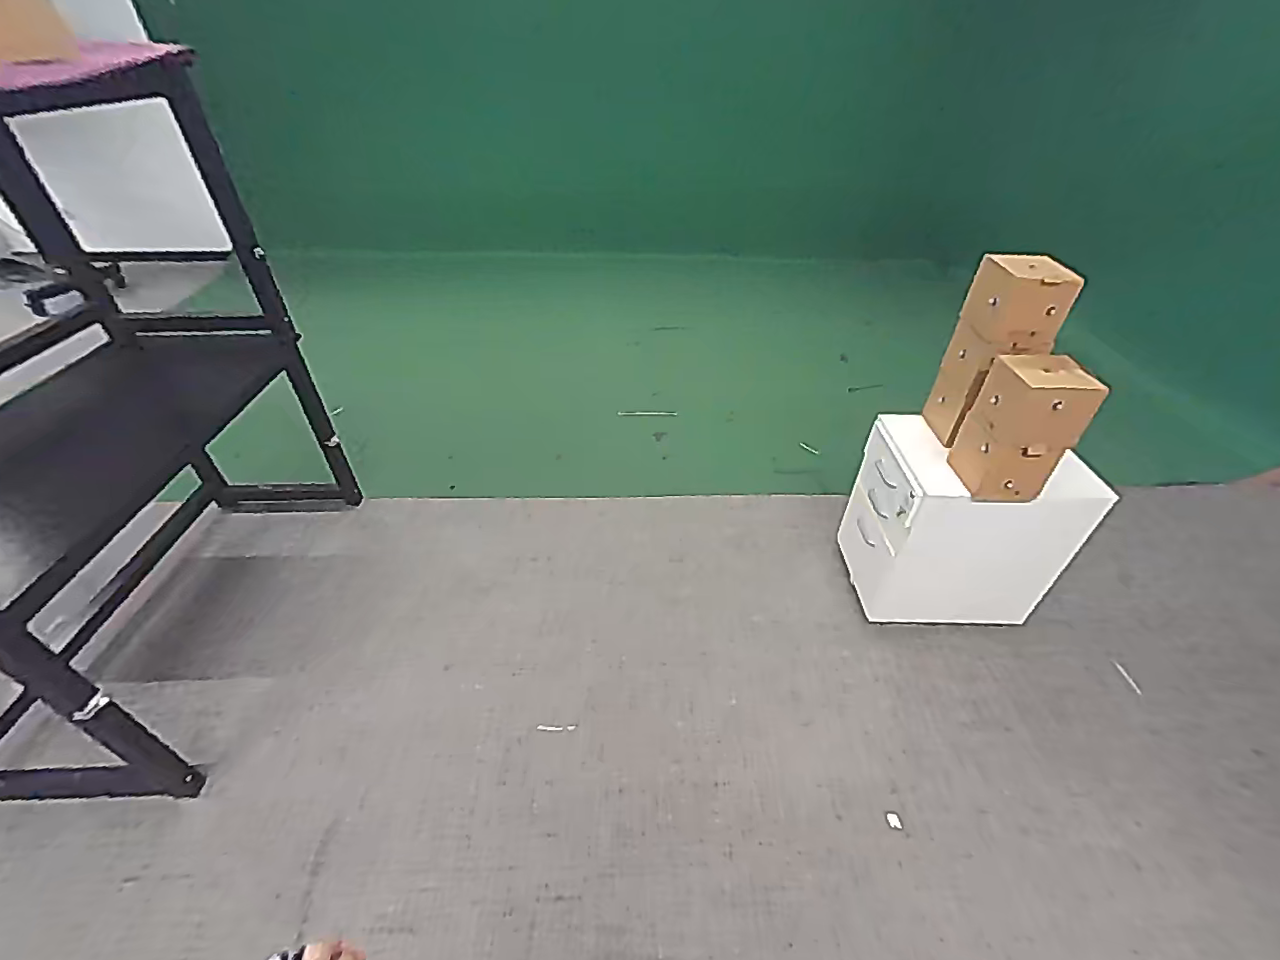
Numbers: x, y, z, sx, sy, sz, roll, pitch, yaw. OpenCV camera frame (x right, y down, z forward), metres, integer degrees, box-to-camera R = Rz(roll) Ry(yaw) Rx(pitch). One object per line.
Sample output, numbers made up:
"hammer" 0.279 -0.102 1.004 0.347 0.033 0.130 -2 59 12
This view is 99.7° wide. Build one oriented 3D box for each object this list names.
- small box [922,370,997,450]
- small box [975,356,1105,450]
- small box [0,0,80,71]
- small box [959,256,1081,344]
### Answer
"small box" 0.972 -0.208 1.602 0.168 0.176 0.179 0 41 0
"small box" 0.954 -0.187 1.318 0.179 0.176 0.168 2 40 0
"small box" -1.288 -0.914 1.060 0.168 0.176 0.179 -2 40 1
"small box" 0.966 -0.462 1.393 0.168 0.176 0.179 2 40 -1
